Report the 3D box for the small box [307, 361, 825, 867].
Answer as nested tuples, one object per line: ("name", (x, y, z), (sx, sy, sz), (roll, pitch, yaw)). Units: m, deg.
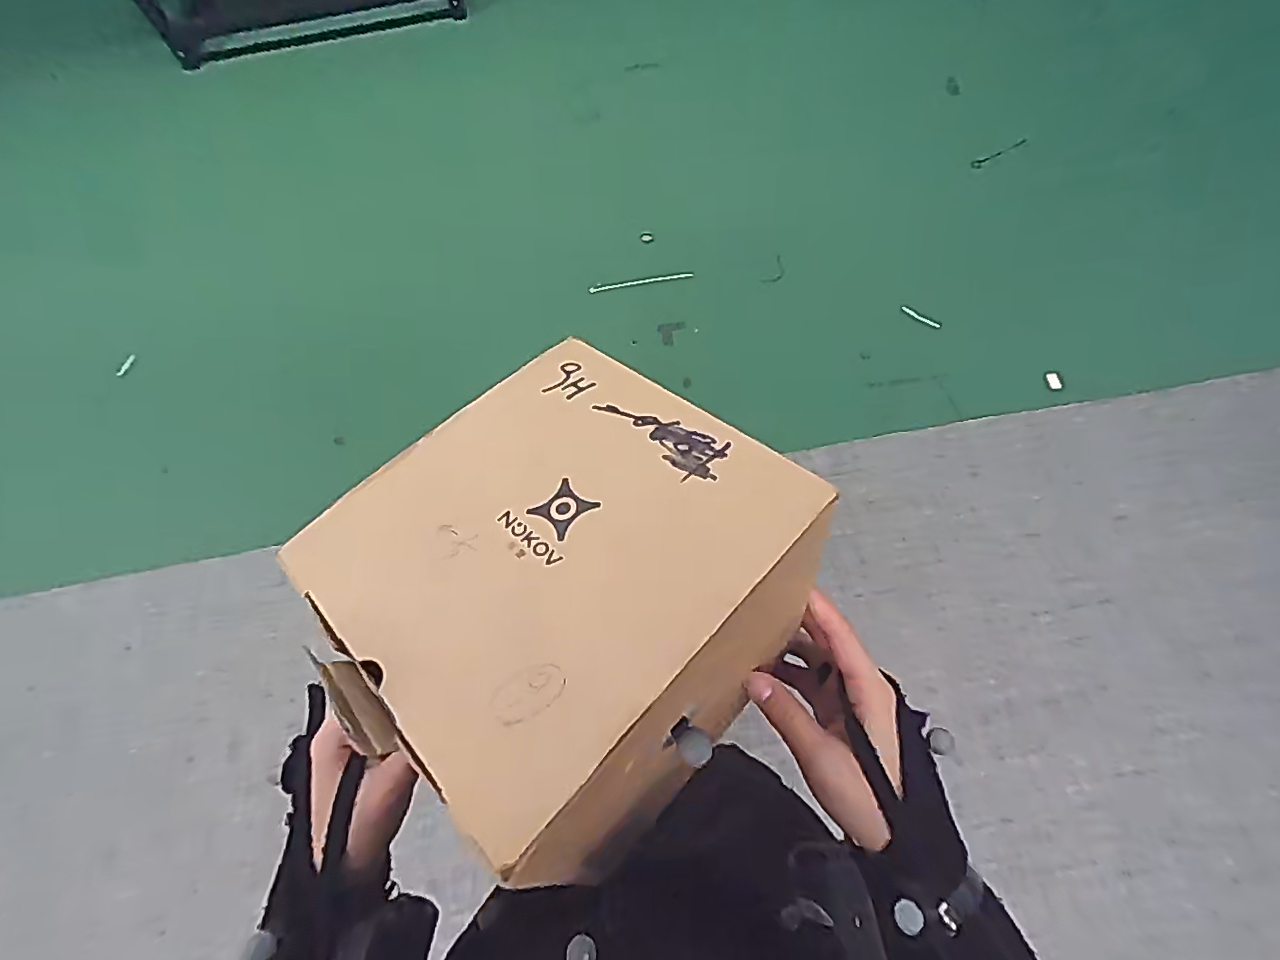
("small box", (-0.025, 0.074, 0.298), (0.168, 0.176, 0.179), (35, 65, 29))
